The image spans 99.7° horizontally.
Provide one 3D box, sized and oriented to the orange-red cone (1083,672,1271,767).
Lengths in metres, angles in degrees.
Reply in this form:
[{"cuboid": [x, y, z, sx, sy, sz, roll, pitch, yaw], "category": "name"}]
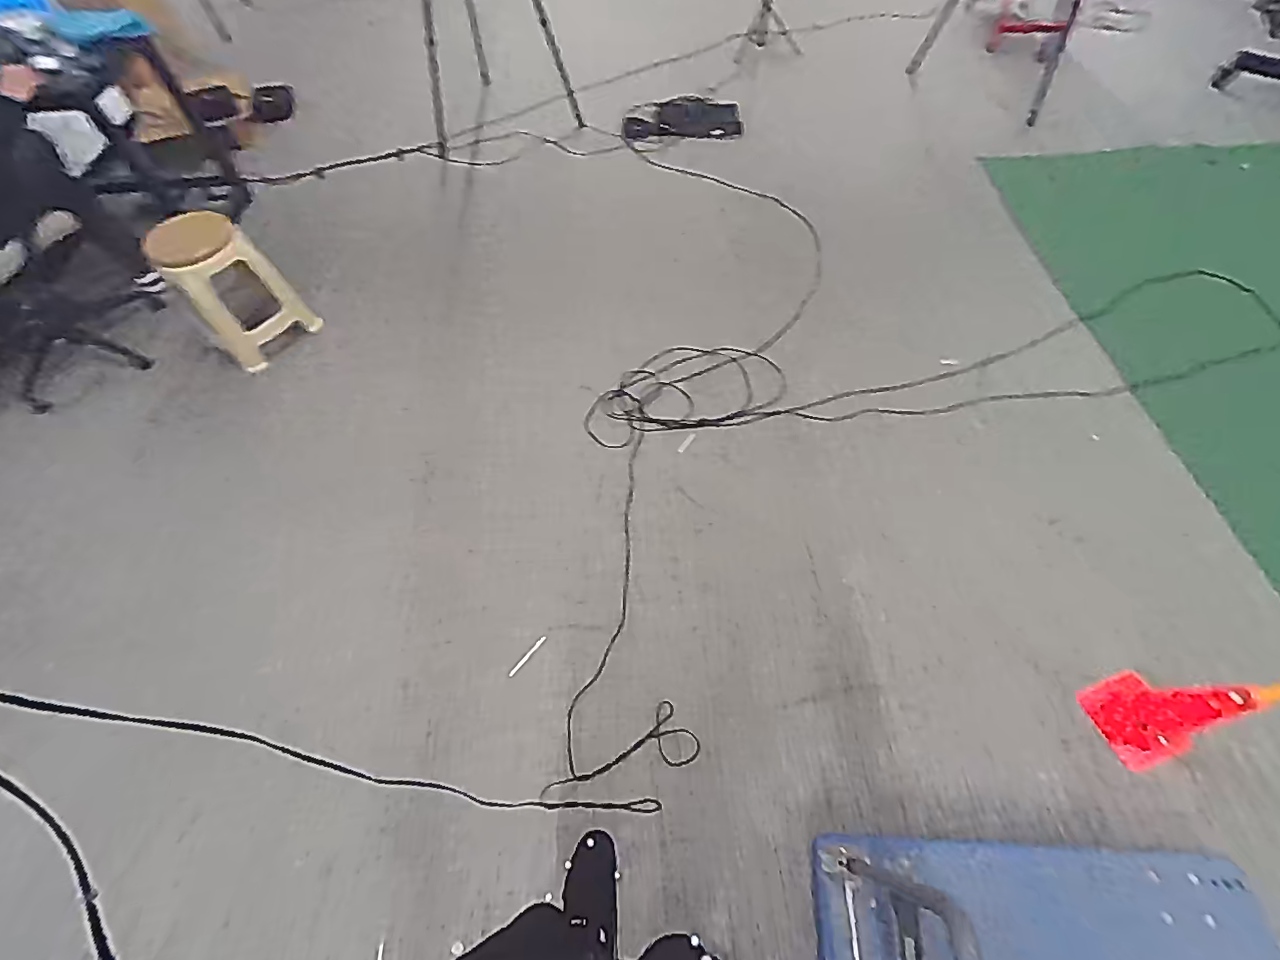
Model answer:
[{"cuboid": [1.288, 0.531, 1.267, 0.198, 0.360, 0.199, -17, 58, -9], "category": "orange-red cone"}]
